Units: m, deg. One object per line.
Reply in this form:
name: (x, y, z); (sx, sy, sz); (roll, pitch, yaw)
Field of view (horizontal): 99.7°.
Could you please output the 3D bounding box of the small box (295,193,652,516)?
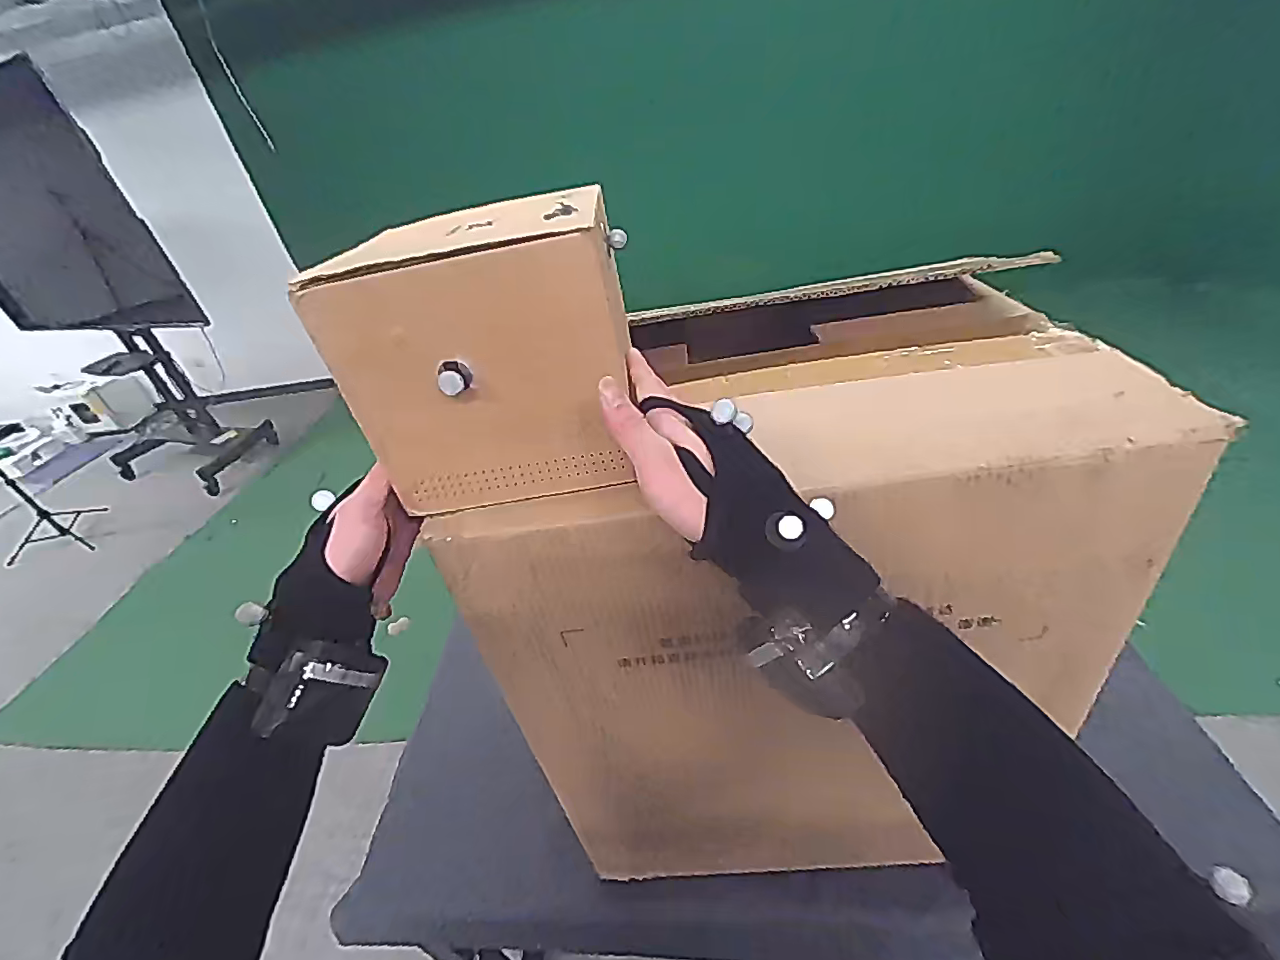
small box: (-0.095, -0.092, 0.401); (0.179, 0.176, 0.168); (-11, 36, 4)
